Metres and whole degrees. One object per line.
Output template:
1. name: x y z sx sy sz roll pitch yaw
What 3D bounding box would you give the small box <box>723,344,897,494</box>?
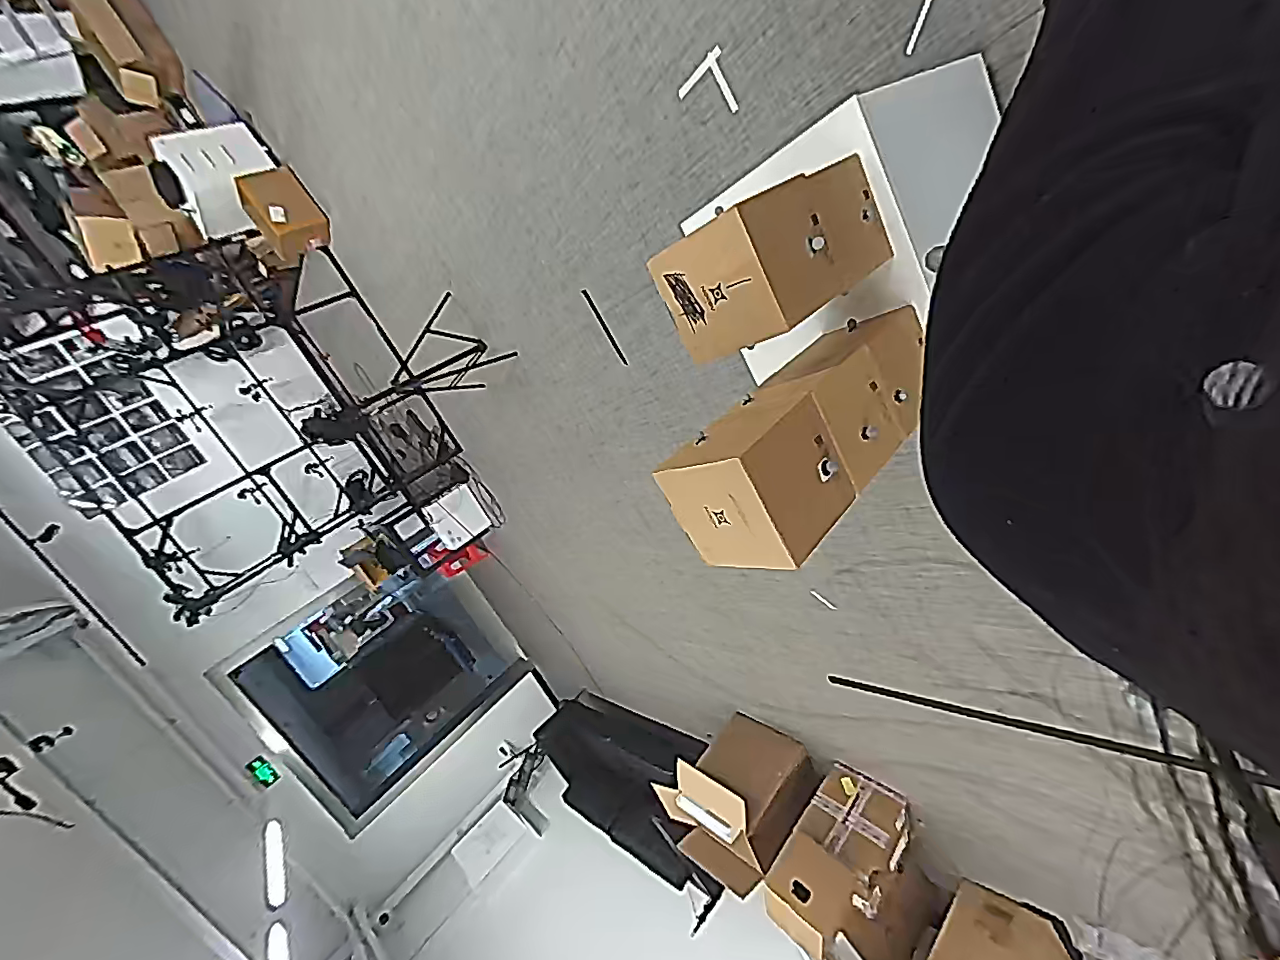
1. small box: 0.265 -0.086 0.828 0.179 0.176 0.168 -10 115 56

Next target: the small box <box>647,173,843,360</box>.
1. small box: 0.149 -0.294 0.758 0.179 0.176 0.168 -6 119 53

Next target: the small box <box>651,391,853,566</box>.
1. small box: 0.155 0.000 0.745 0.179 0.176 0.168 -11 115 55

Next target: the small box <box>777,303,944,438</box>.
1. small box: 0.374 -0.172 0.914 0.179 0.176 0.168 -7 116 56
